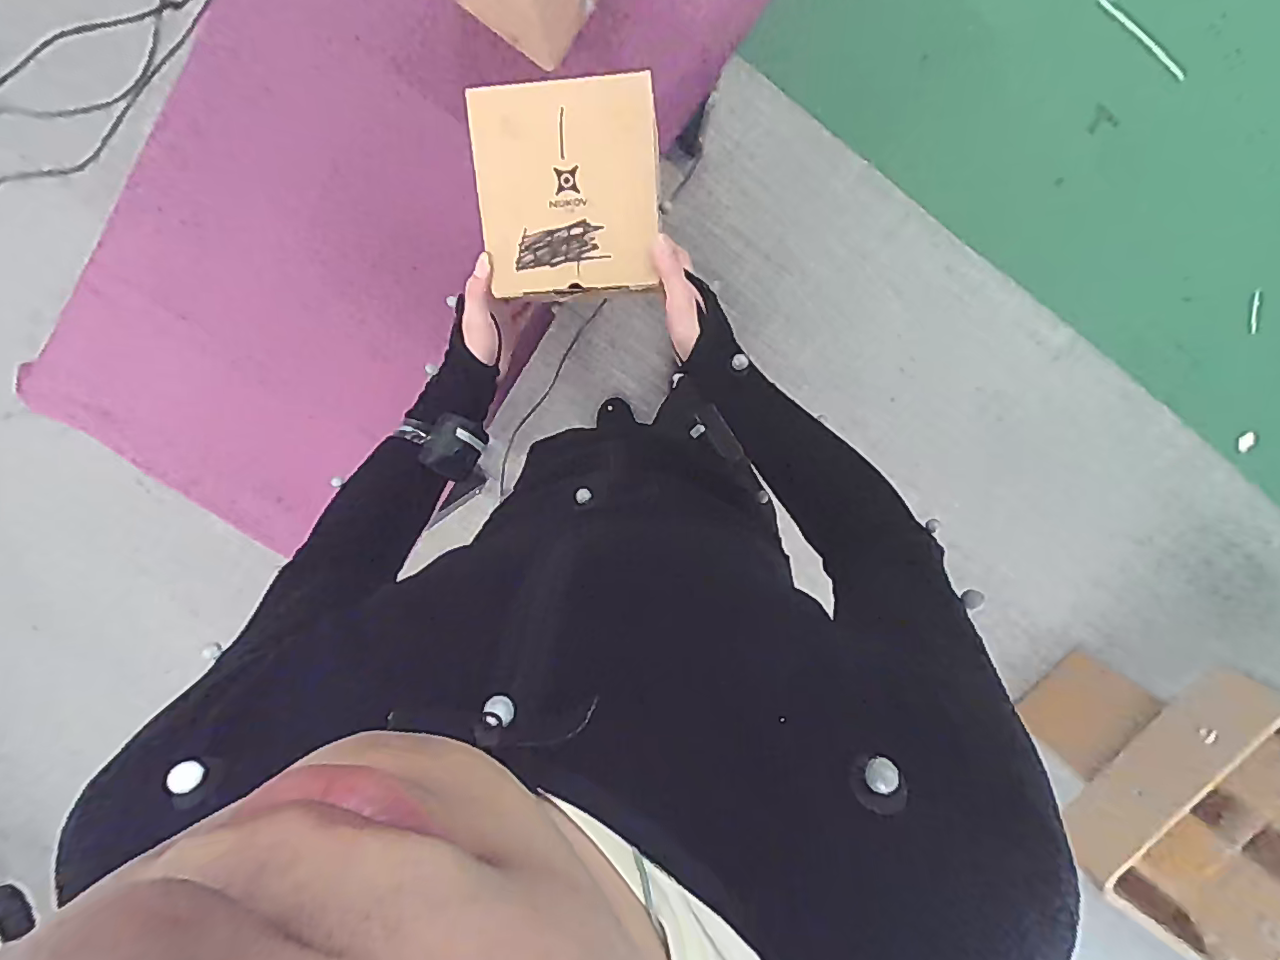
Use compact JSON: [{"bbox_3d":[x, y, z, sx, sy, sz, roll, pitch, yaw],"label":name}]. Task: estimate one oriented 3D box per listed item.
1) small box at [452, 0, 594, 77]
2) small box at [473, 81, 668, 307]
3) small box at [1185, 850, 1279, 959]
[{"bbox_3d":[-0.153,-0.676,0.683,0.168,0.176,0.179,34,98,-6],"label":"small box"},{"bbox_3d":[-0.056,-0.276,0.564,0.168,0.176,0.179,-3,105,3],"label":"small box"},{"bbox_3d":[1.322,0.928,1.126,0.168,0.176,0.179,38,99,-5],"label":"small box"}]
